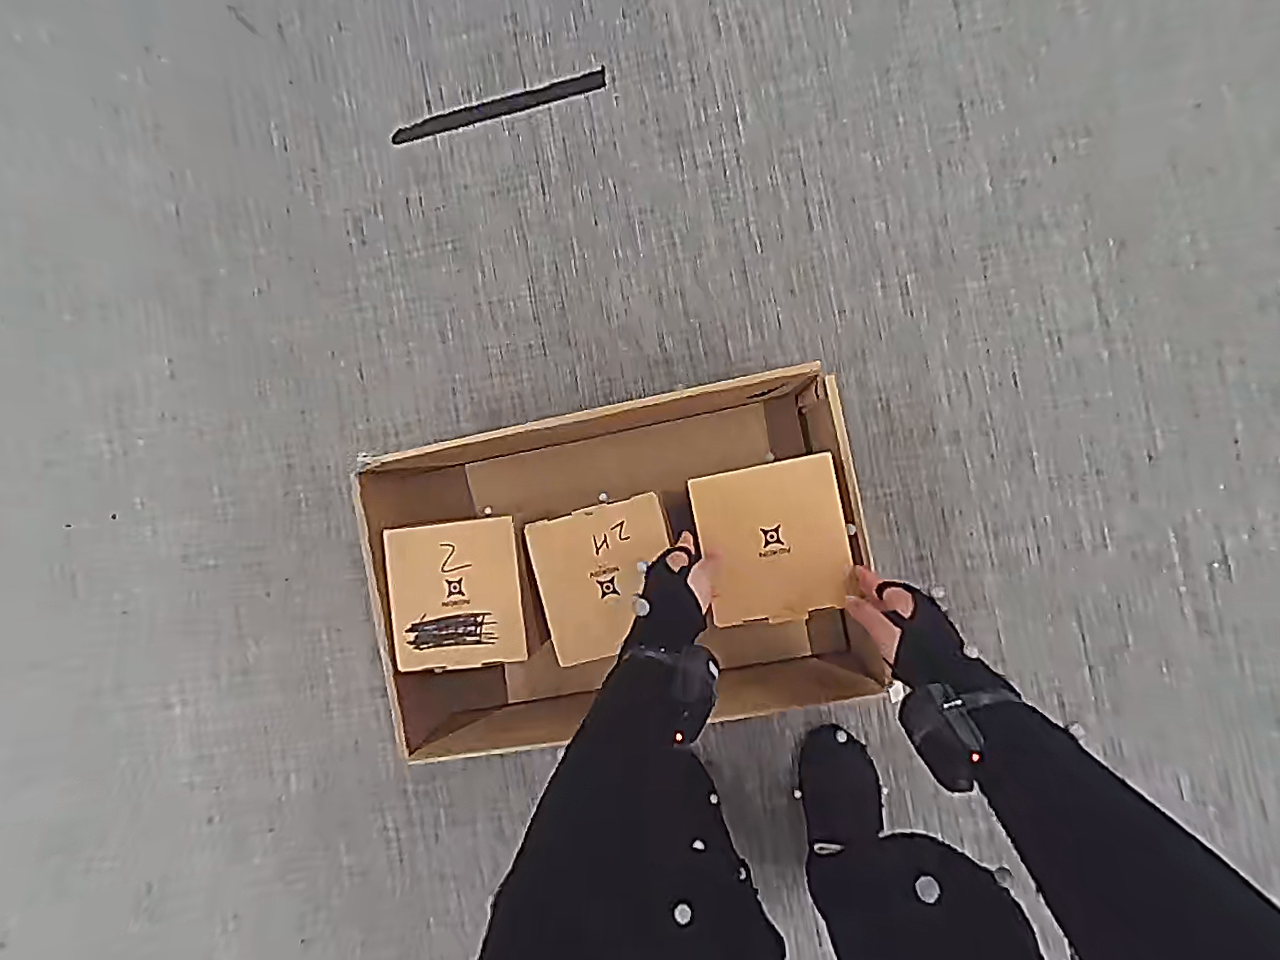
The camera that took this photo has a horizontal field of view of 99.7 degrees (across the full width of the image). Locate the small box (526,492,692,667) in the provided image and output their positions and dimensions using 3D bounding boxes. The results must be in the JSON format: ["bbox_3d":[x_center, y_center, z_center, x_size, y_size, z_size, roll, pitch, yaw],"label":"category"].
[{"bbox_3d":[-0.029,0.118,0.708,0.168,0.176,0.179,-15,87,5],"label":"small box"}]

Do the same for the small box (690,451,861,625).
[{"bbox_3d":[0.160,0.068,0.687,0.168,0.176,0.179,-12,89,8],"label":"small box"}]
